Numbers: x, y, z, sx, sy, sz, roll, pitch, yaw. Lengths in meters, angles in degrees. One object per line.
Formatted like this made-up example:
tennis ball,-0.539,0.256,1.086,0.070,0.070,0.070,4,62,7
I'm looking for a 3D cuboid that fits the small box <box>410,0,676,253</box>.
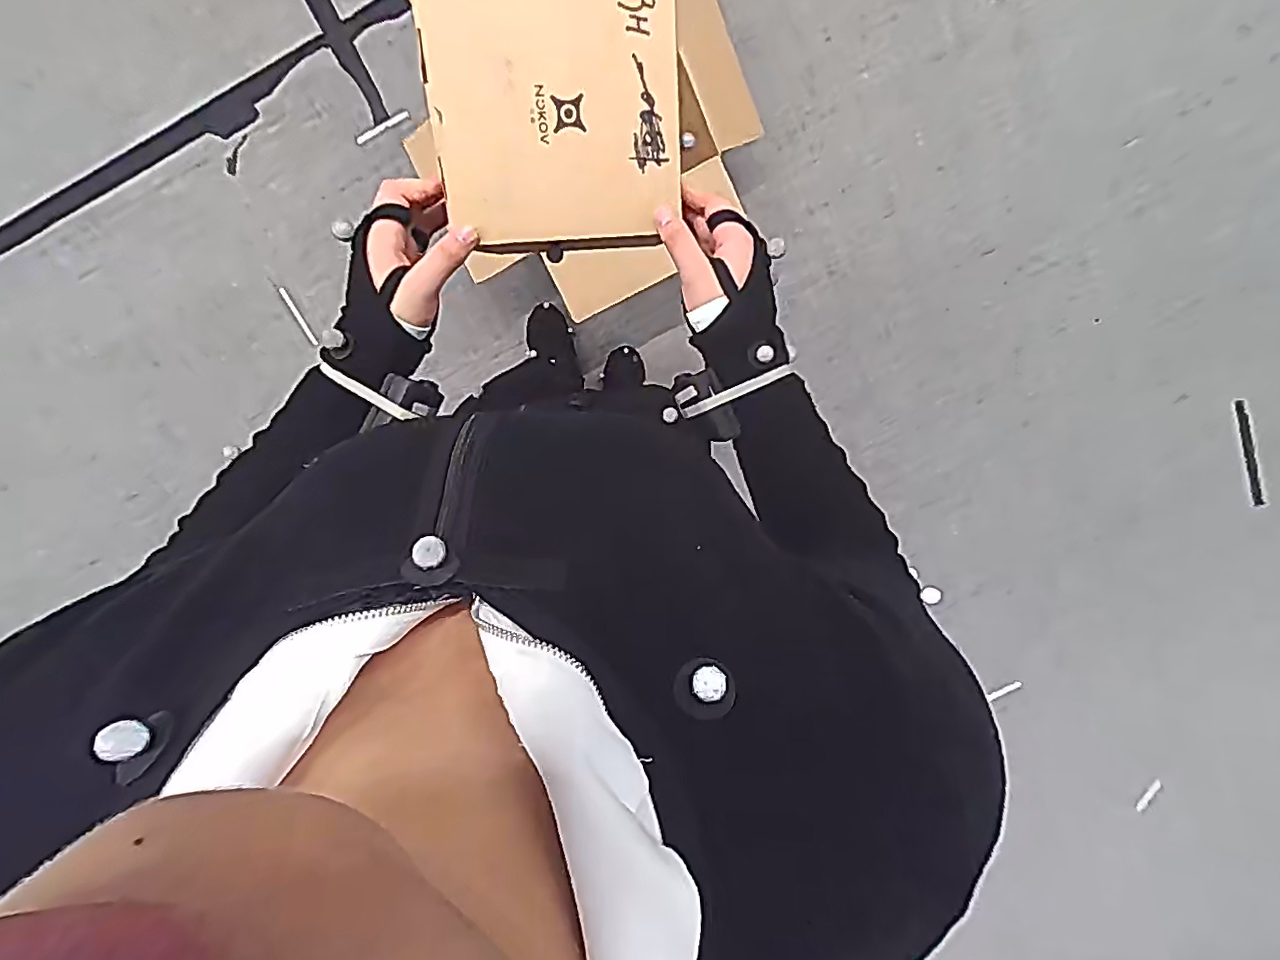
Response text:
small box,-0.066,-0.288,0.456,0.179,0.176,0.168,-4,111,-2
